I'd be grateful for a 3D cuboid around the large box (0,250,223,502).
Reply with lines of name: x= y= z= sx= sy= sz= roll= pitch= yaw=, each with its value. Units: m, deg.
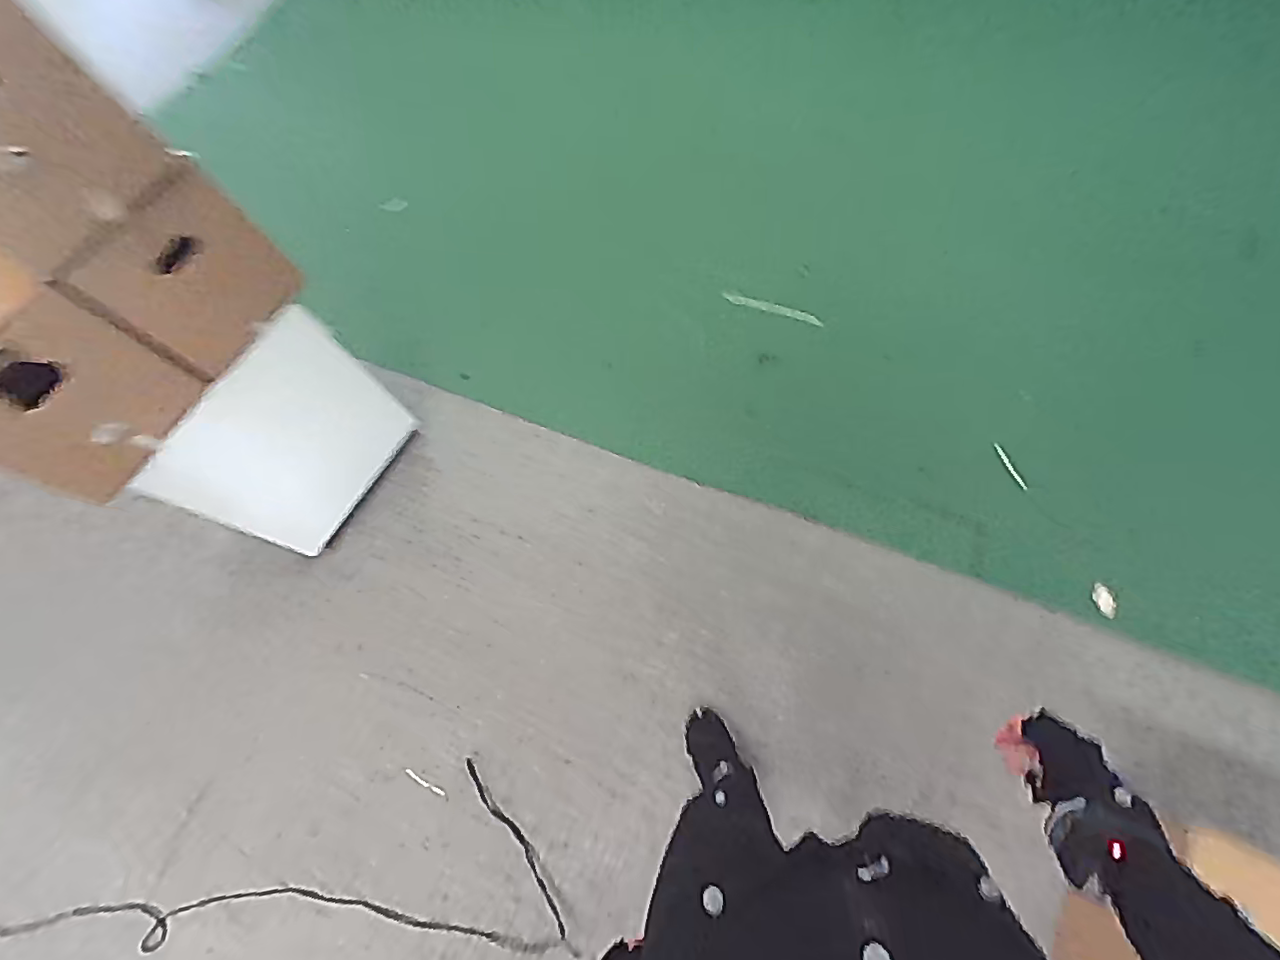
large box: x=-1.160 y=-0.207 z=1.061 sx=0.408 sy=0.320 sz=0.320 roll=24 pitch=72 yaw=20
